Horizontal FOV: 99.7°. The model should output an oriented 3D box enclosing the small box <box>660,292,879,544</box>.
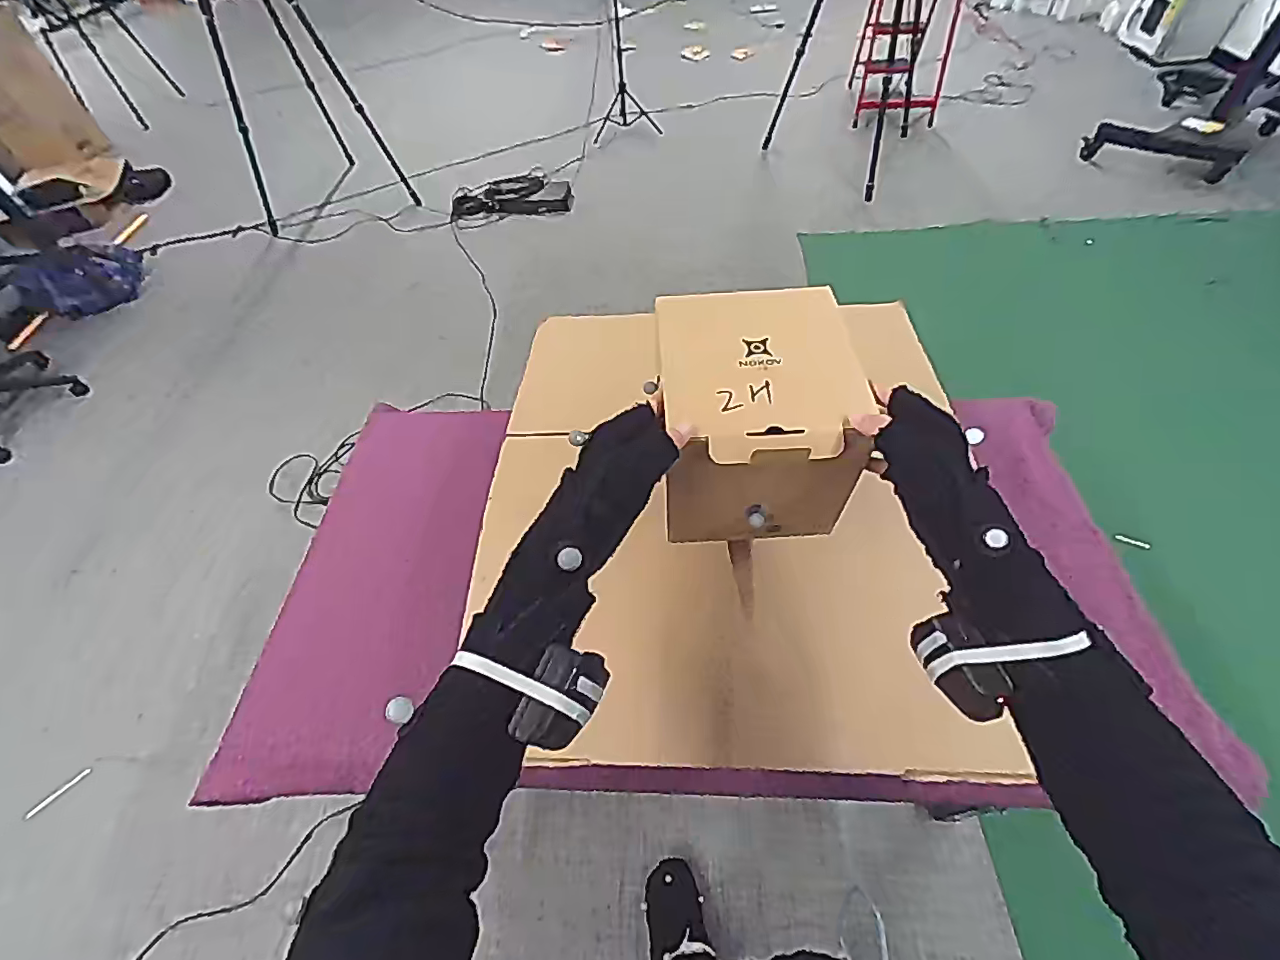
[{"bbox_3d":[0.104,-0.056,0.526,0.168,0.176,0.179,-4,56,2],"label":"small box"}]
